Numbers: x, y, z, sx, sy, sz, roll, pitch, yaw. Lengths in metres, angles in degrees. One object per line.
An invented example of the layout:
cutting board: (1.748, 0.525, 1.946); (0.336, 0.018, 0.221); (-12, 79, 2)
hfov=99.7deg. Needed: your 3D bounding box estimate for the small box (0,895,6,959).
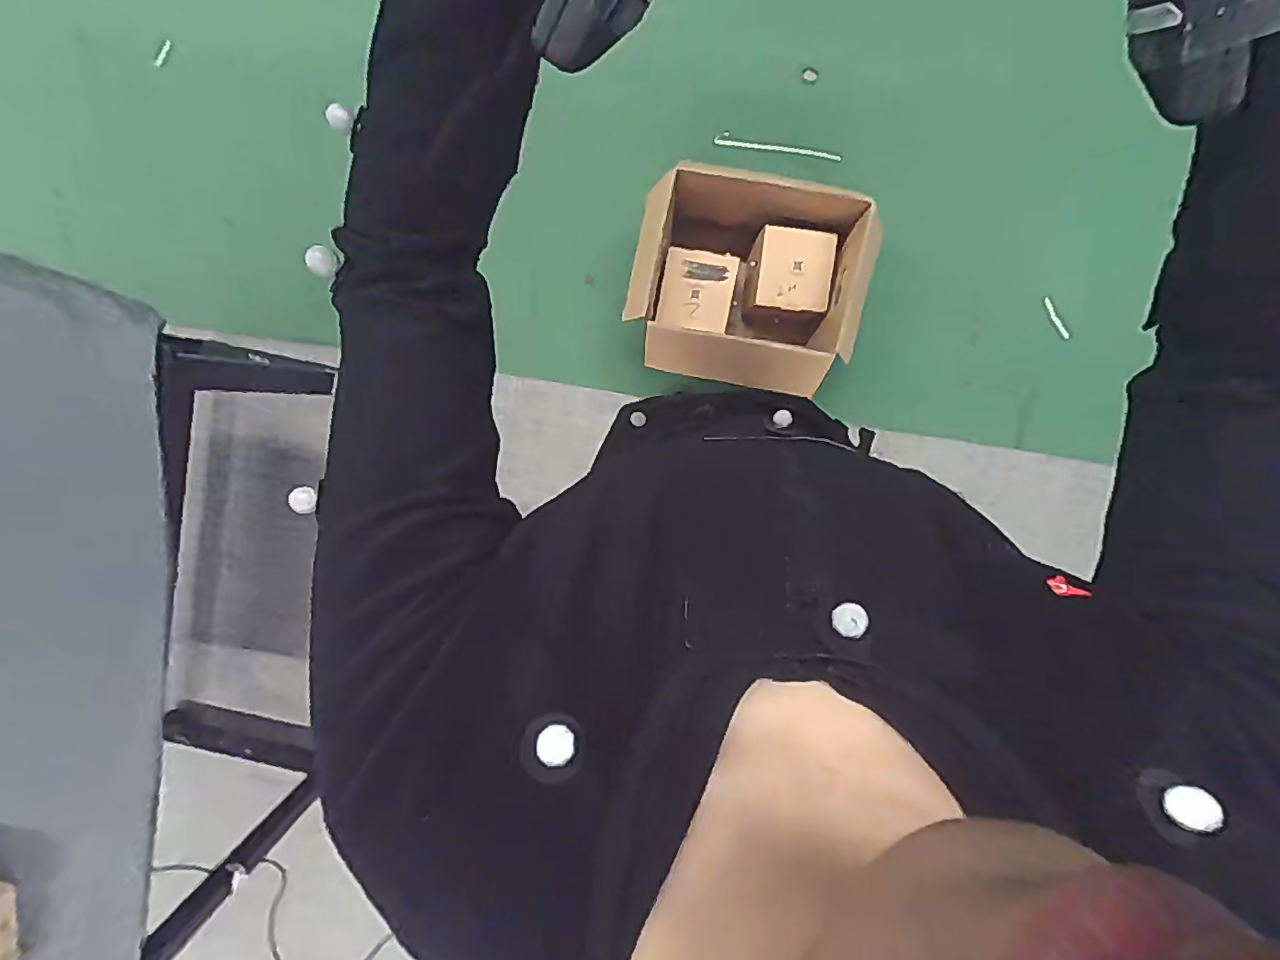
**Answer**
small box: (-1.124, 0.740, 0.810); (0.179, 0.176, 0.168); (8, 97, 3)
